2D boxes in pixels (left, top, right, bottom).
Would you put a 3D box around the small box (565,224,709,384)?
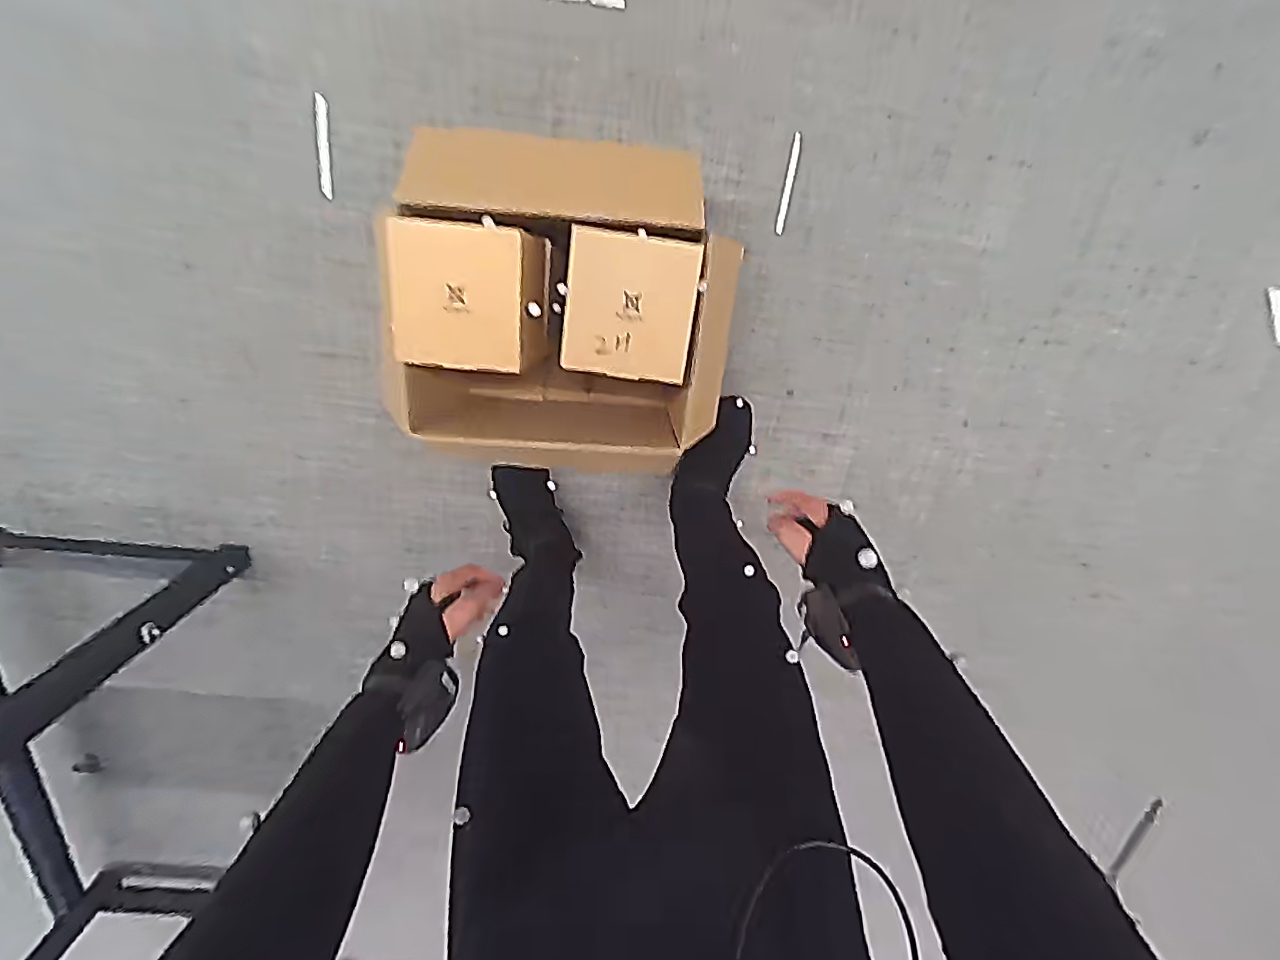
[{"bbox_3d":[-0.008,-0.247,0.763,0.168,0.176,0.179,8,111,-3],"label":"small box"}]
